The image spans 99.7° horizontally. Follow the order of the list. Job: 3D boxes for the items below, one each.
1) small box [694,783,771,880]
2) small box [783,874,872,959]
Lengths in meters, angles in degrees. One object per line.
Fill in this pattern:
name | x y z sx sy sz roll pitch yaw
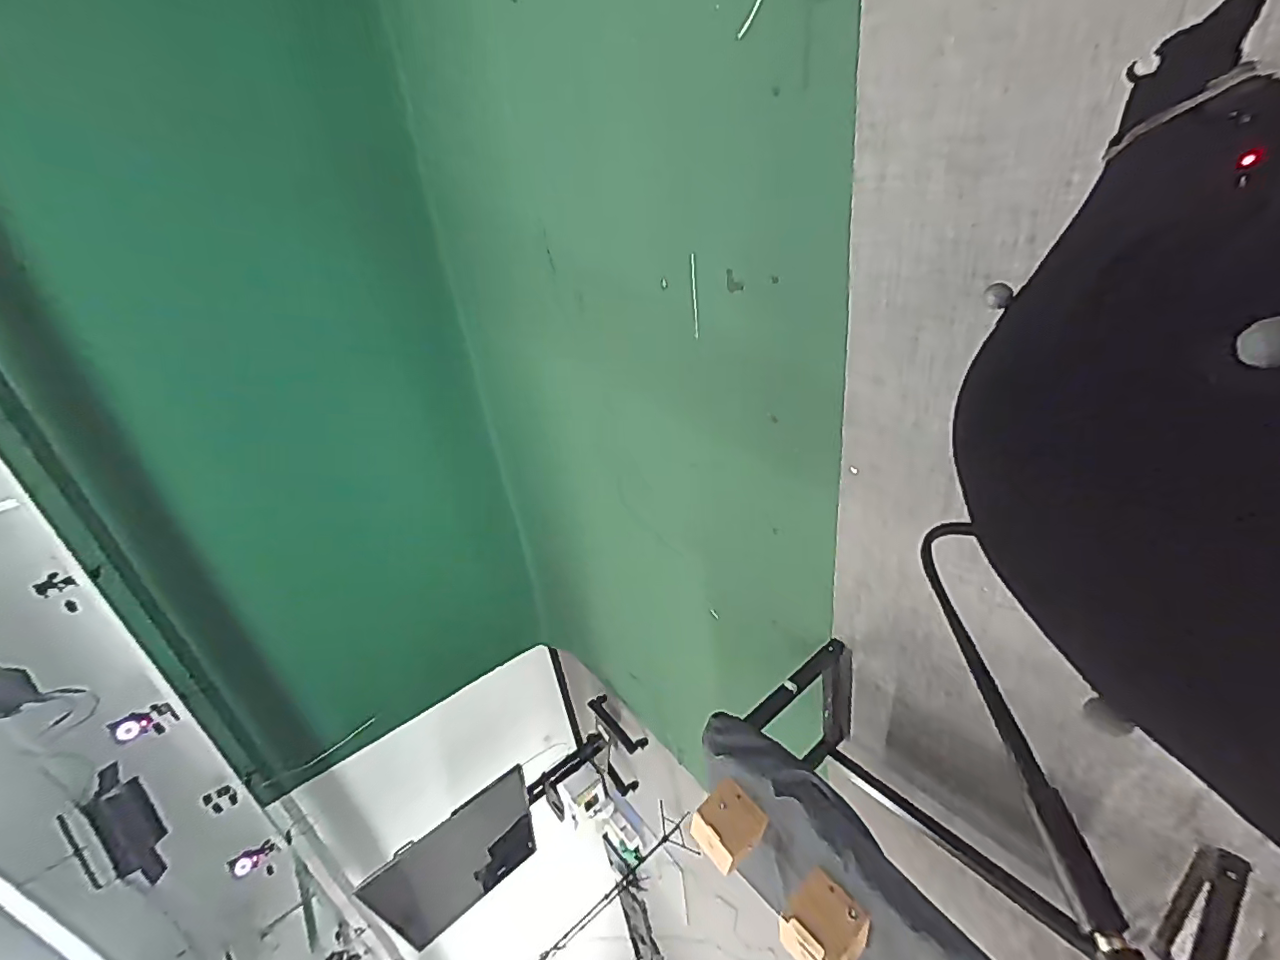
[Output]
small box | 0.292 1.101 1.706 0.168 0.176 0.179 37 142 38
small box | 0.509 1.231 1.467 0.168 0.176 0.179 26 134 47
